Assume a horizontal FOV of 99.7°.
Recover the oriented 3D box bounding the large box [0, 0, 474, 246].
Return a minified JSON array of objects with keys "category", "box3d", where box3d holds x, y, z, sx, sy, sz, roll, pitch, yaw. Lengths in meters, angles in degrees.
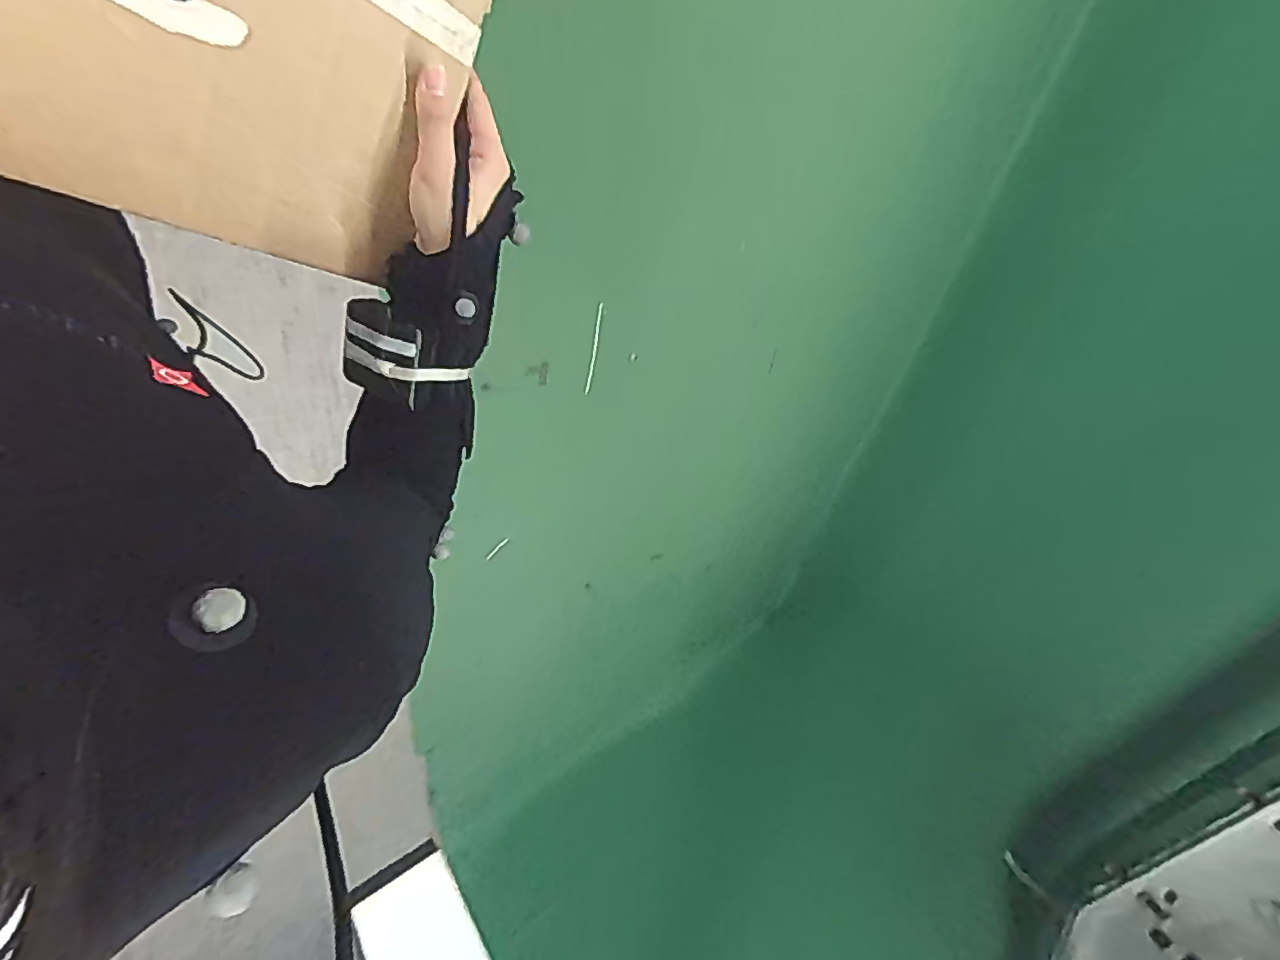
[{"category":"large box","box3d":[-0.318,-0.367,0.242,0.408,0.320,0.320,0,128,-50]}]
